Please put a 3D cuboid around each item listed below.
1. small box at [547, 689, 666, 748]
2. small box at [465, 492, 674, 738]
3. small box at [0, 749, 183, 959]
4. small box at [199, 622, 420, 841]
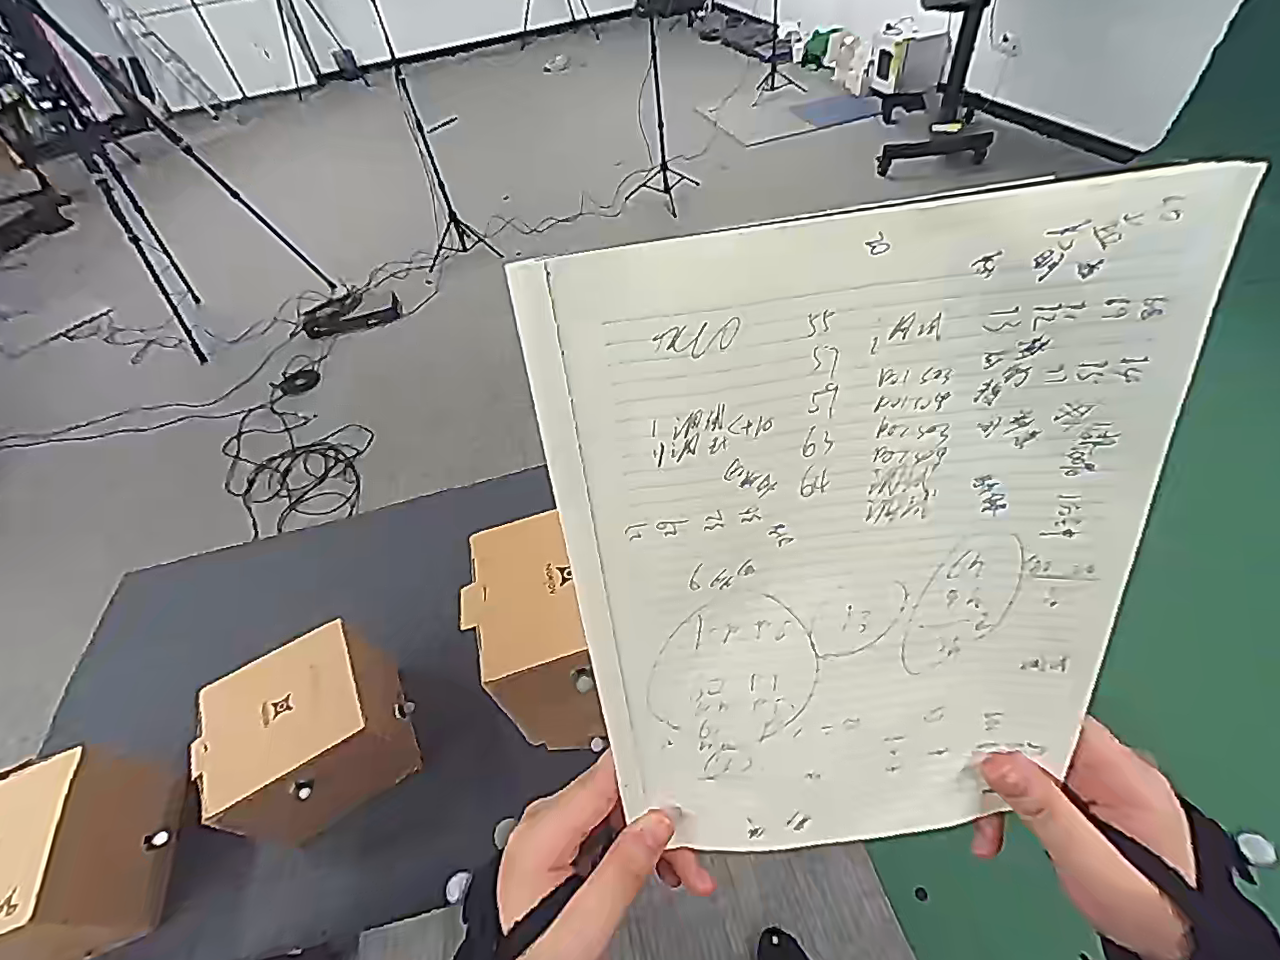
[{"bbox_3d":[-0.056,0.235,0.711,0.168,0.176,0.179,-5,49,6],"label":"small box"},{"bbox_3d":[-0.068,0.146,0.574,0.179,0.176,0.168,-17,48,-5],"label":"small box"},{"bbox_3d":[-0.684,0.451,0.626,0.168,0.176,0.179,-20,49,-9],"label":"small box"},{"bbox_3d":[-0.416,0.325,0.695,0.179,0.176,0.168,-28,51,-16],"label":"small box"}]
